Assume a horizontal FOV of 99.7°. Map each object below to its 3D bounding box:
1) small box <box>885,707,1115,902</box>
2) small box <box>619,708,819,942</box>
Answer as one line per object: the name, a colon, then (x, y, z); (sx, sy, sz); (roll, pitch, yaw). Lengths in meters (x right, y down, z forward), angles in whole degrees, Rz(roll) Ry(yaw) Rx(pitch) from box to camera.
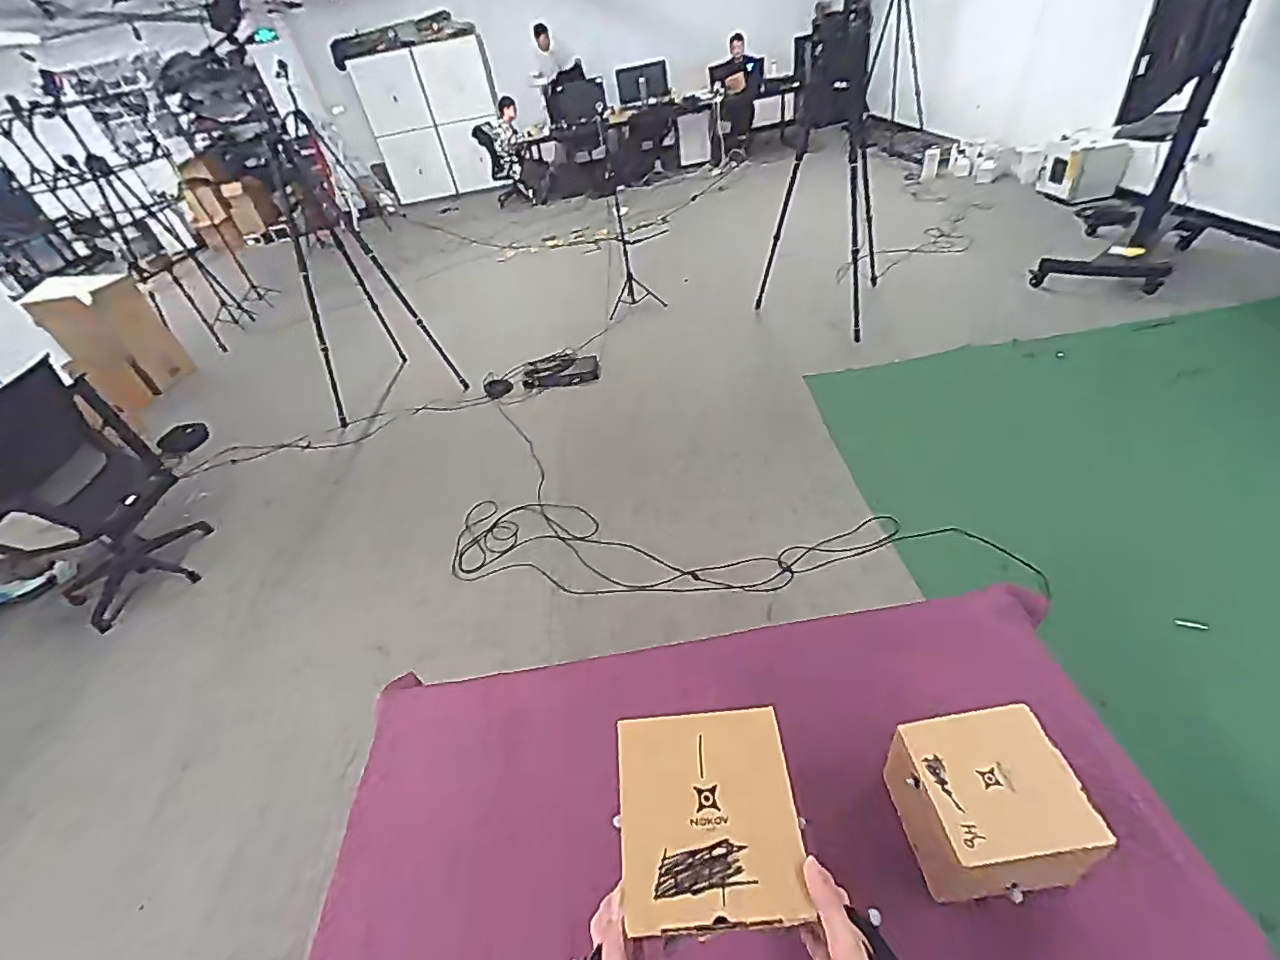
small box: (0.449, 0.428, 0.713); (0.179, 0.176, 0.168); (-11, 40, 3)
small box: (0.069, 0.358, 0.557); (0.168, 0.176, 0.179); (-5, 47, 0)
